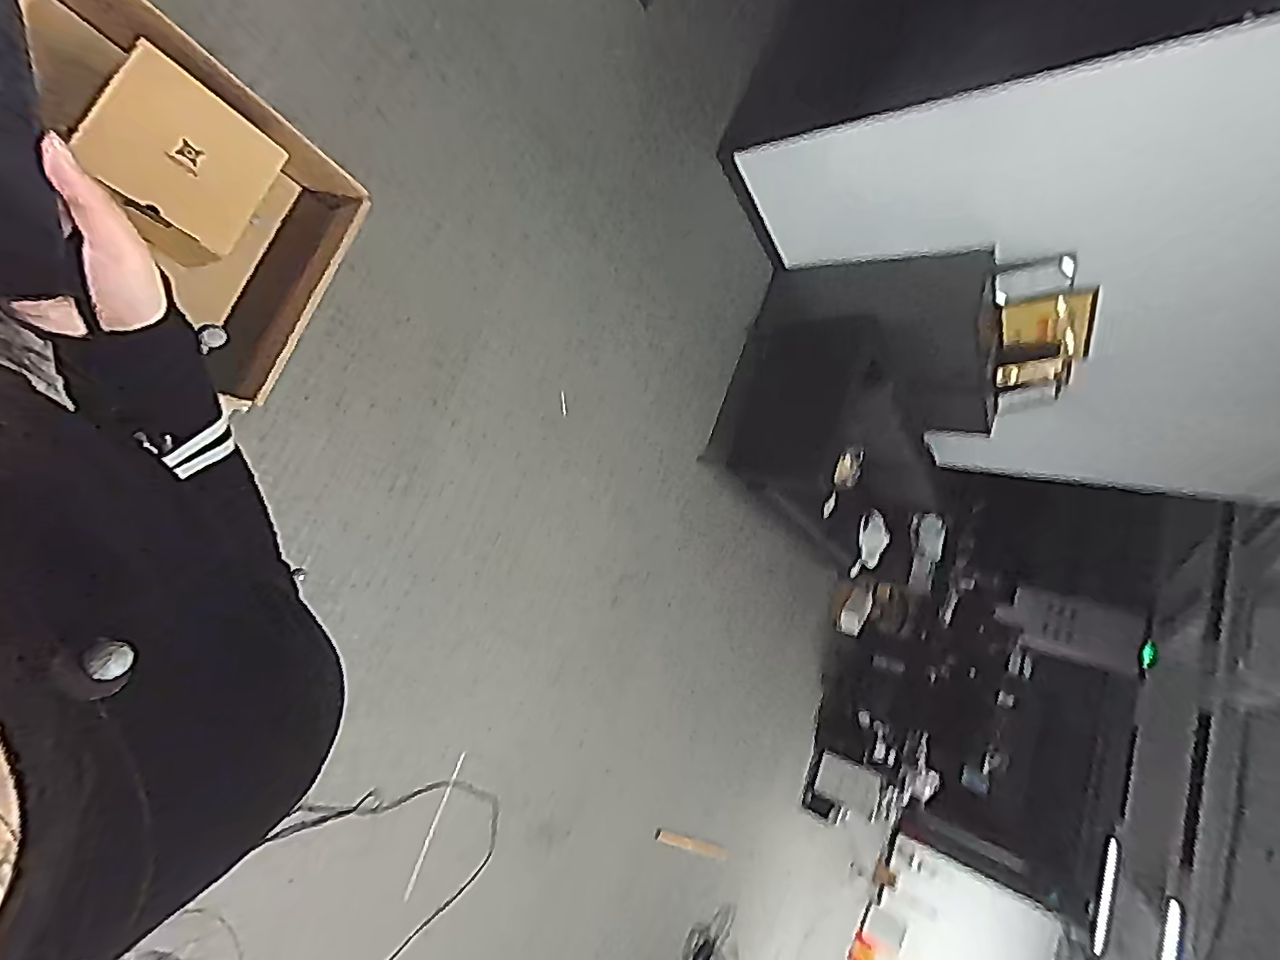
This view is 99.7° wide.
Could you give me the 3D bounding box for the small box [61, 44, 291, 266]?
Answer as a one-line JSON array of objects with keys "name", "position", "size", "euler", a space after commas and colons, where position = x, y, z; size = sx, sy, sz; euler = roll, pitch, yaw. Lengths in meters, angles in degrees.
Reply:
[{"name": "small box", "position": [-0.613, -0.410, 0.715], "size": [0.168, 0.176, 0.179], "euler": [34, 74, -49]}]
